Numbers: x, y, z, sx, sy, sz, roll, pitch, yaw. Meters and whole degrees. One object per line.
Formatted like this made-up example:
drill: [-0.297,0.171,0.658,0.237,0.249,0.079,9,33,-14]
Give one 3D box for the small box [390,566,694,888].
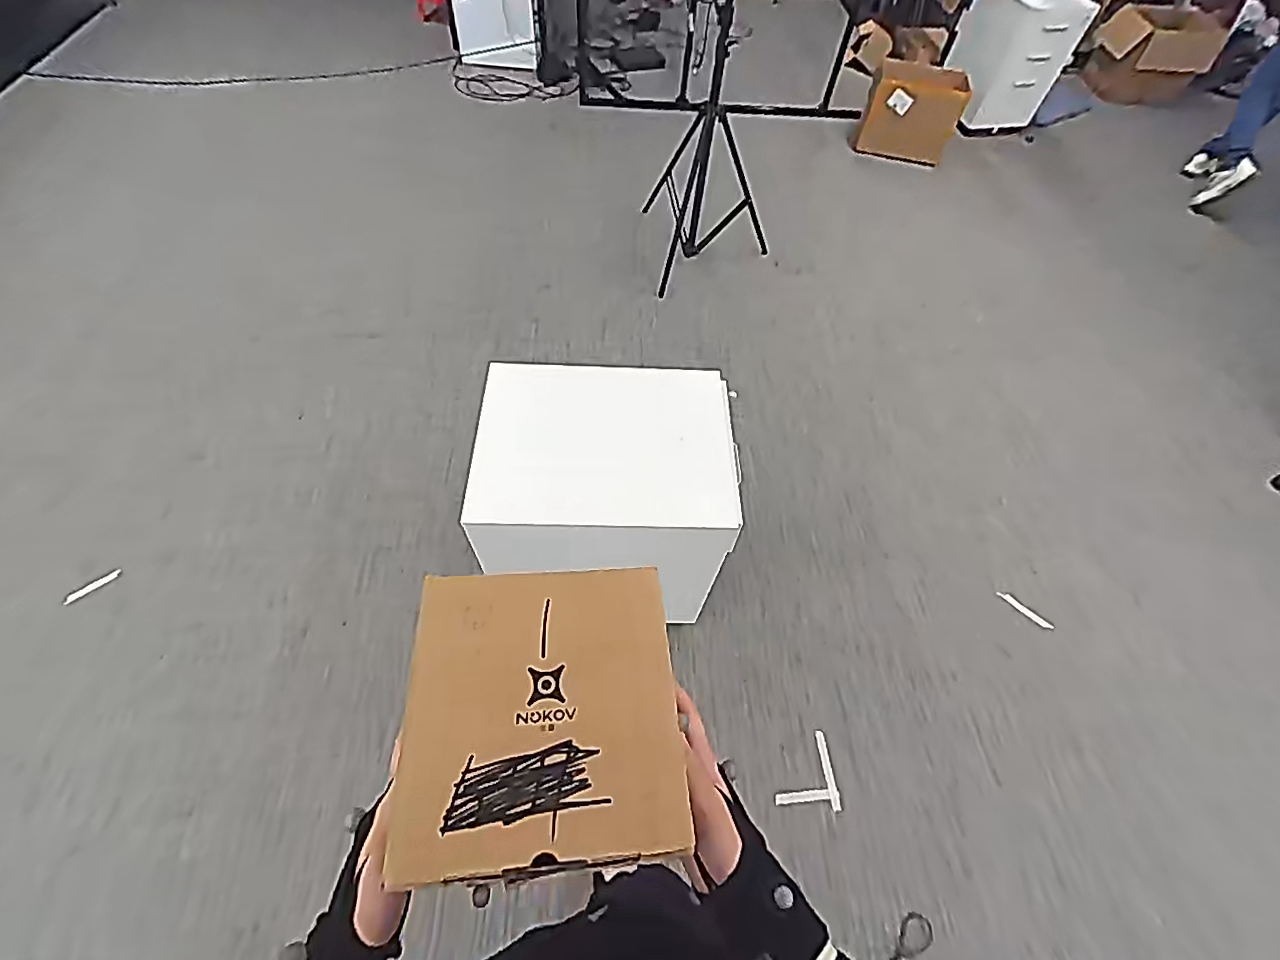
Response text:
small box: [-0.064,0.182,0.400,0.168,0.176,0.179,-2,54,-8]
